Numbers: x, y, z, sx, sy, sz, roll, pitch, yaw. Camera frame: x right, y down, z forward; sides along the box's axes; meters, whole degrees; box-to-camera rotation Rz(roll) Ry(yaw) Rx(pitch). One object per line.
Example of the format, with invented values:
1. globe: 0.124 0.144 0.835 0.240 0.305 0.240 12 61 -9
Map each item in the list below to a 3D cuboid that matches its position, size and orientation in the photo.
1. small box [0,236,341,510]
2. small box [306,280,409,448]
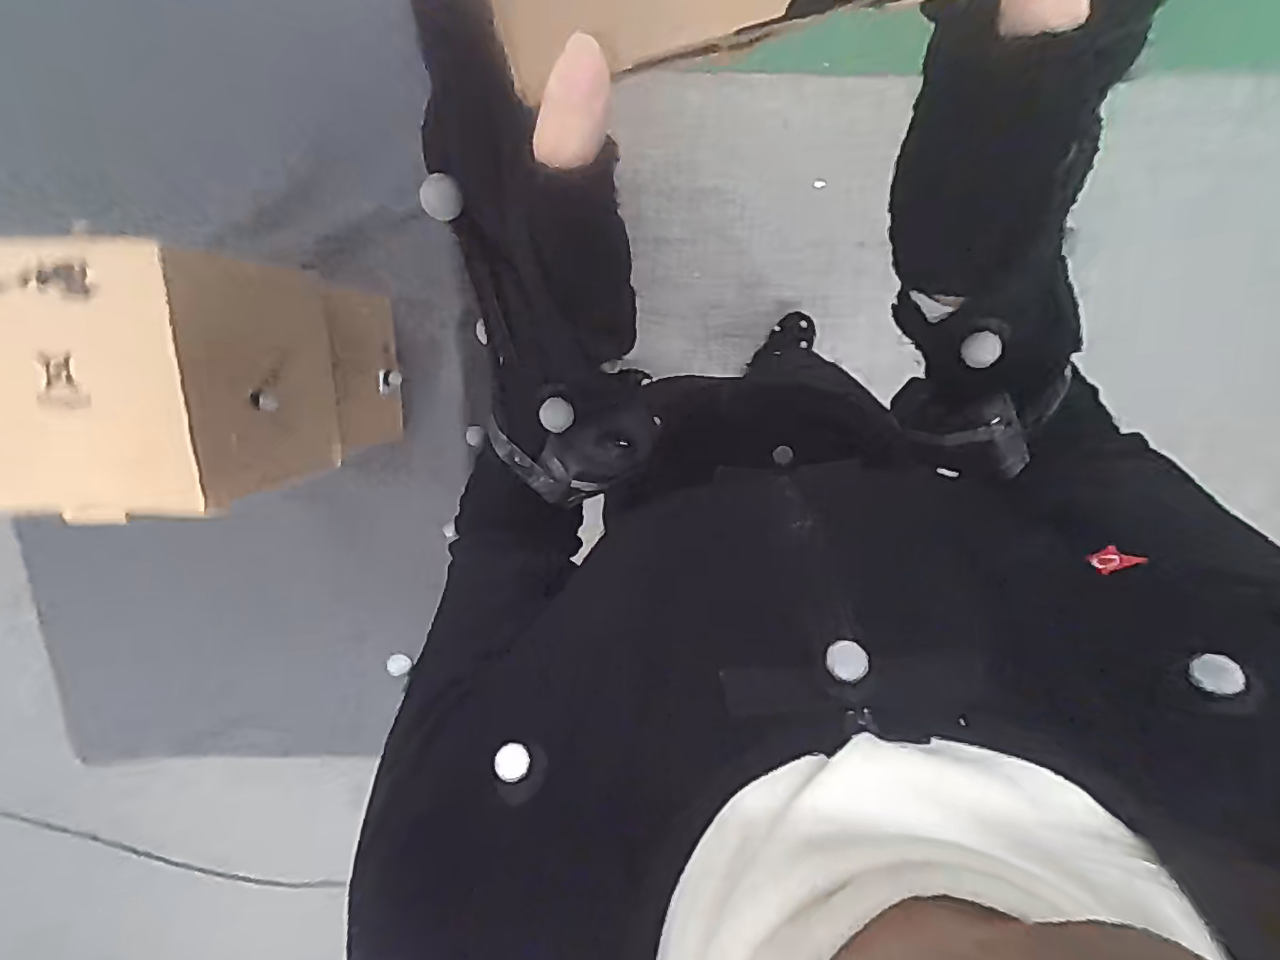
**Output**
1. small box: -0.373 -0.083 0.436 0.168 0.176 0.179 -2 102 5
2. small box: -0.382 -0.120 0.593 0.179 0.176 0.168 -2 104 2
